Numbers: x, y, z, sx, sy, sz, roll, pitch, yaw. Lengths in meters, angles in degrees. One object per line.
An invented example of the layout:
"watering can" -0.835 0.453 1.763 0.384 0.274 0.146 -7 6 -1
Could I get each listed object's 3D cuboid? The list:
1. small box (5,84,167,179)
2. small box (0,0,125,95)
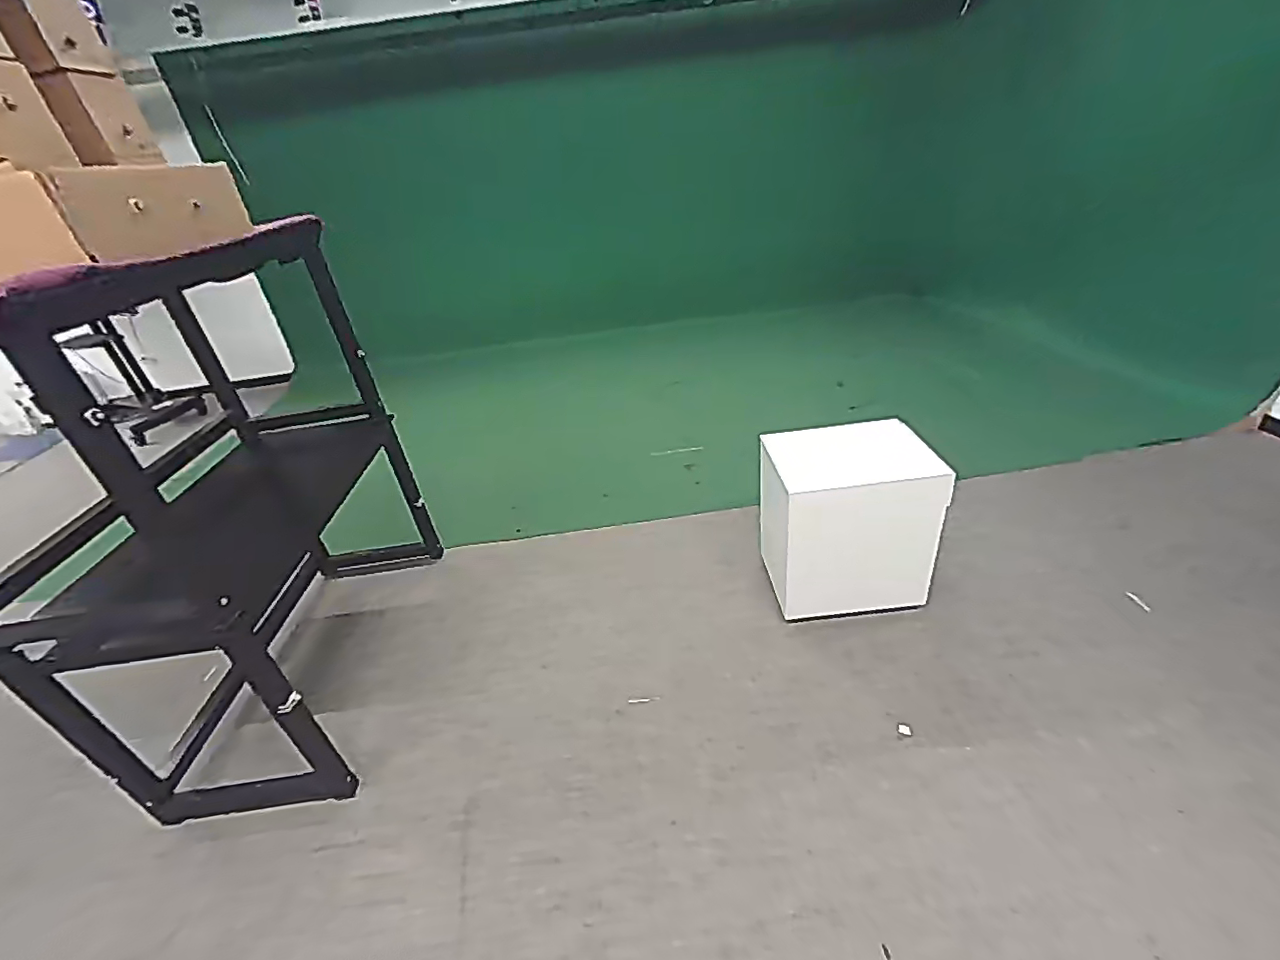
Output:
"small box" -1.325 -0.837 1.309 0.179 0.176 0.168 -8 33 2
"small box" -1.341 -0.967 1.211 0.179 0.176 0.168 -7 32 3
